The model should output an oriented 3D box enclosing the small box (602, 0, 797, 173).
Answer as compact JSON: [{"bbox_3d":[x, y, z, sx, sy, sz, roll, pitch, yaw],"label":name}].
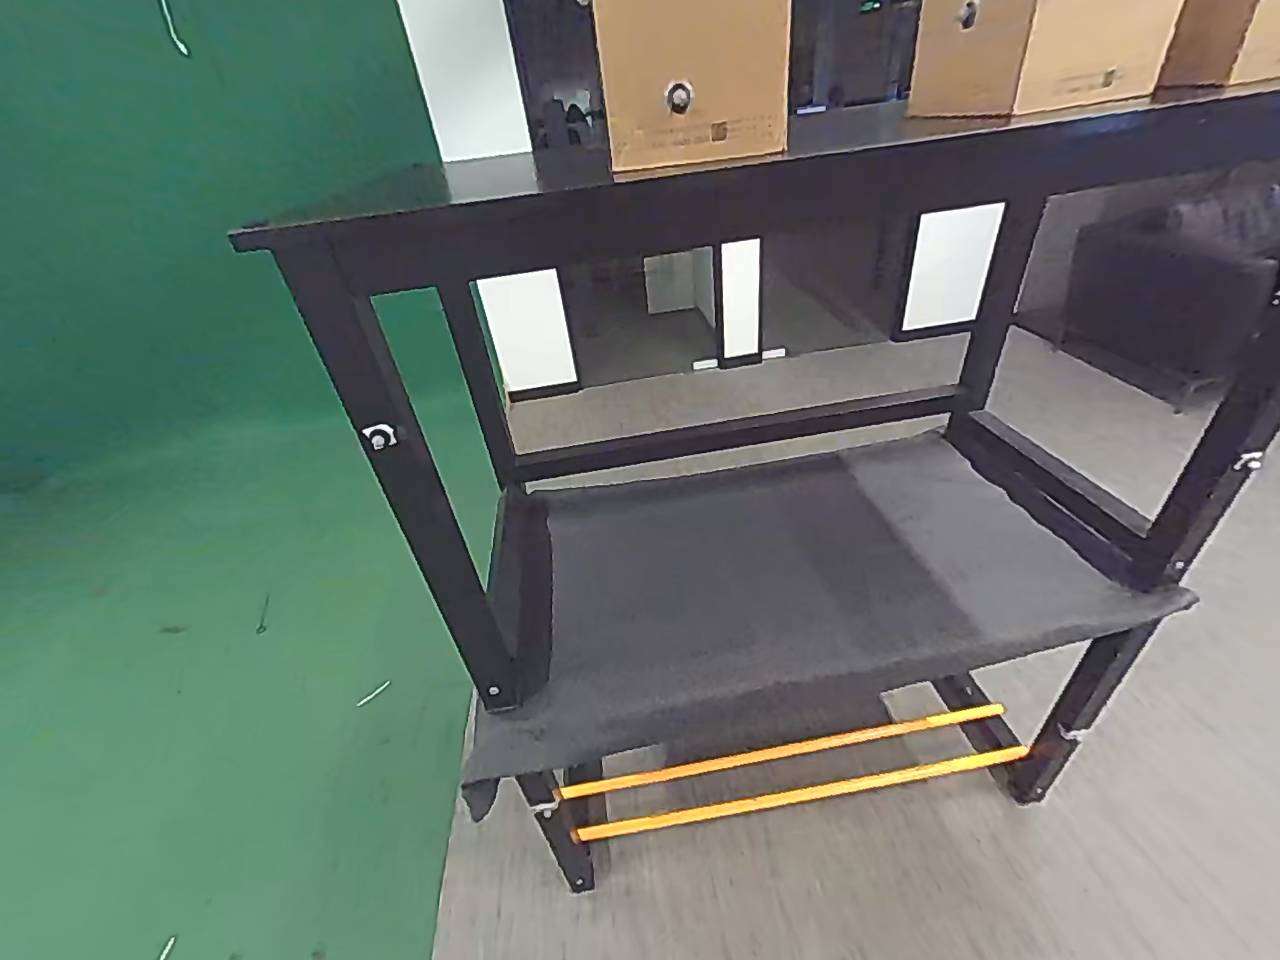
[{"bbox_3d":[0.054,-0.414,0.541,0.168,0.176,0.179,-4,35,4],"label":"small box"}]
